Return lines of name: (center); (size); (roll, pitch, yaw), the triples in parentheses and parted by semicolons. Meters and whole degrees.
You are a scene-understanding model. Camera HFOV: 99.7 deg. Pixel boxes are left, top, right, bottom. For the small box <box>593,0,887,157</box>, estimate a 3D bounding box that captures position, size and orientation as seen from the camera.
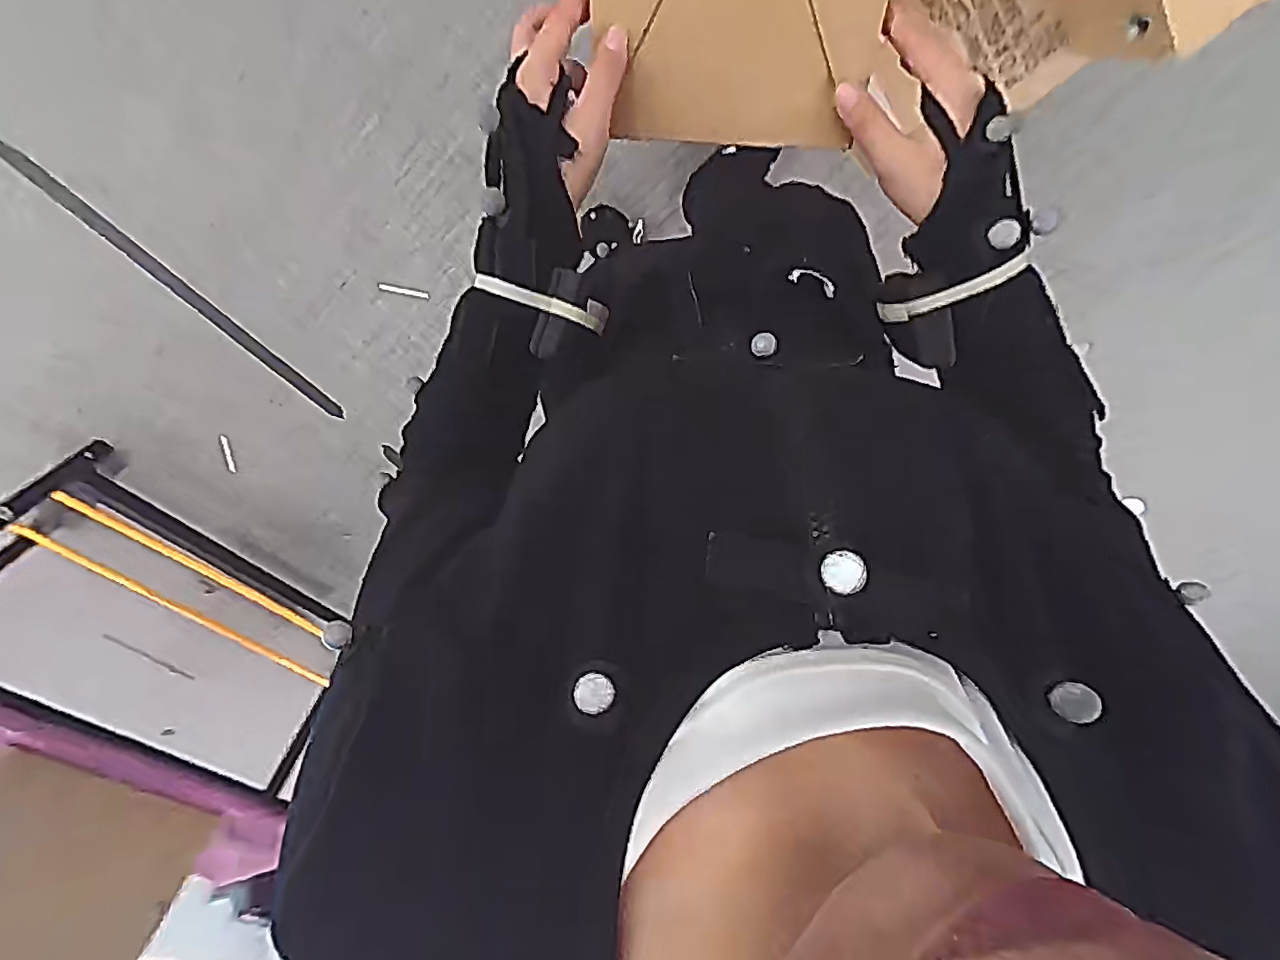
small box: (0.059, -0.324, 0.356); (0.168, 0.176, 0.179); (3, 131, 2)
